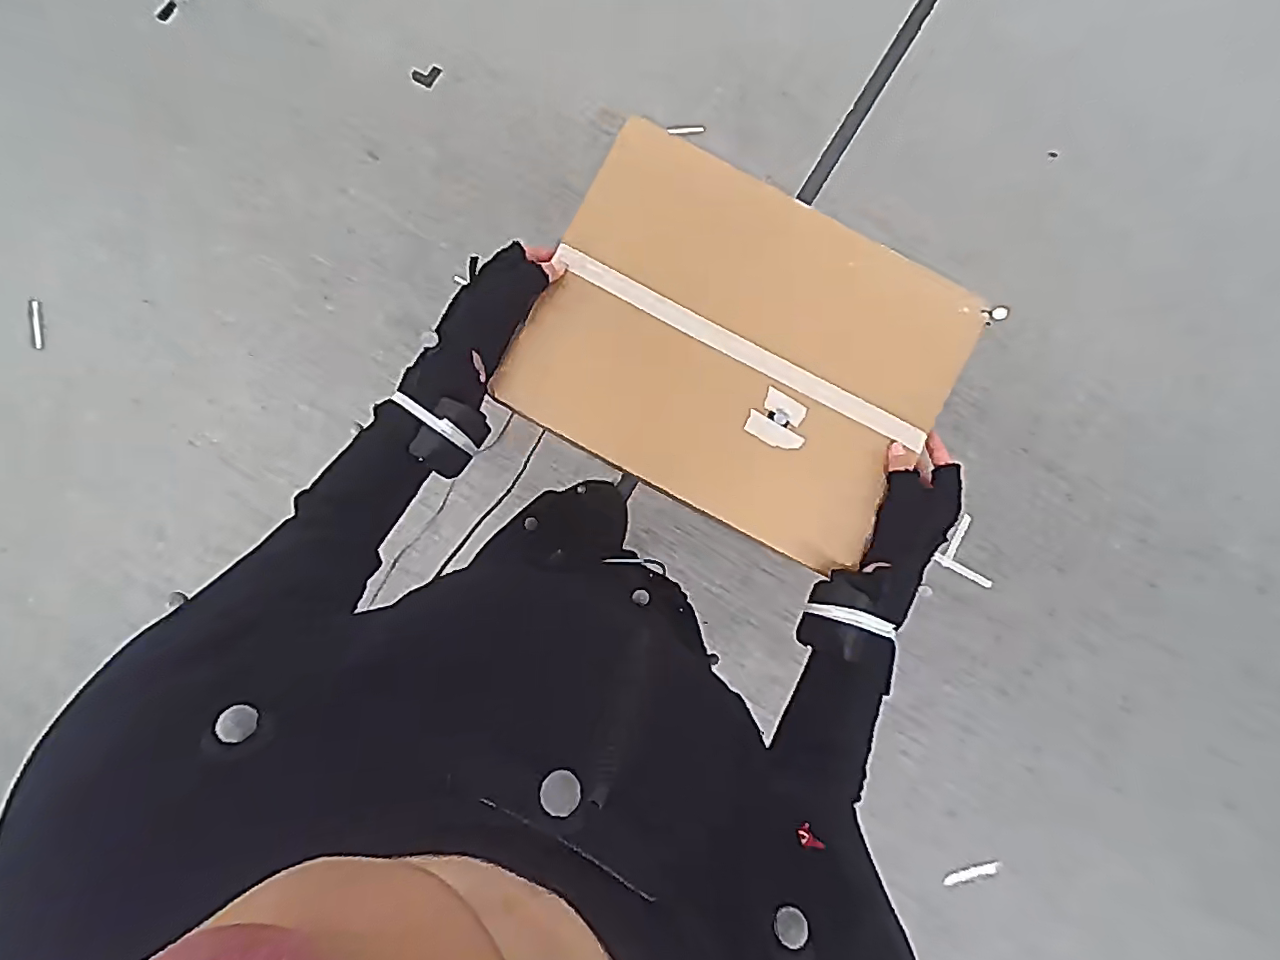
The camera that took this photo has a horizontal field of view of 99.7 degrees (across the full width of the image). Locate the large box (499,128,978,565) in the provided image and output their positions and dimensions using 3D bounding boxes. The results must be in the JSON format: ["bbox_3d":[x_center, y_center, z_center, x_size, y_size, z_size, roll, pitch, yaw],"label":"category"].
[{"bbox_3d":[0.098,-0.136,0.694,0.408,0.320,0.320,28,91,0],"label":"large box"}]
